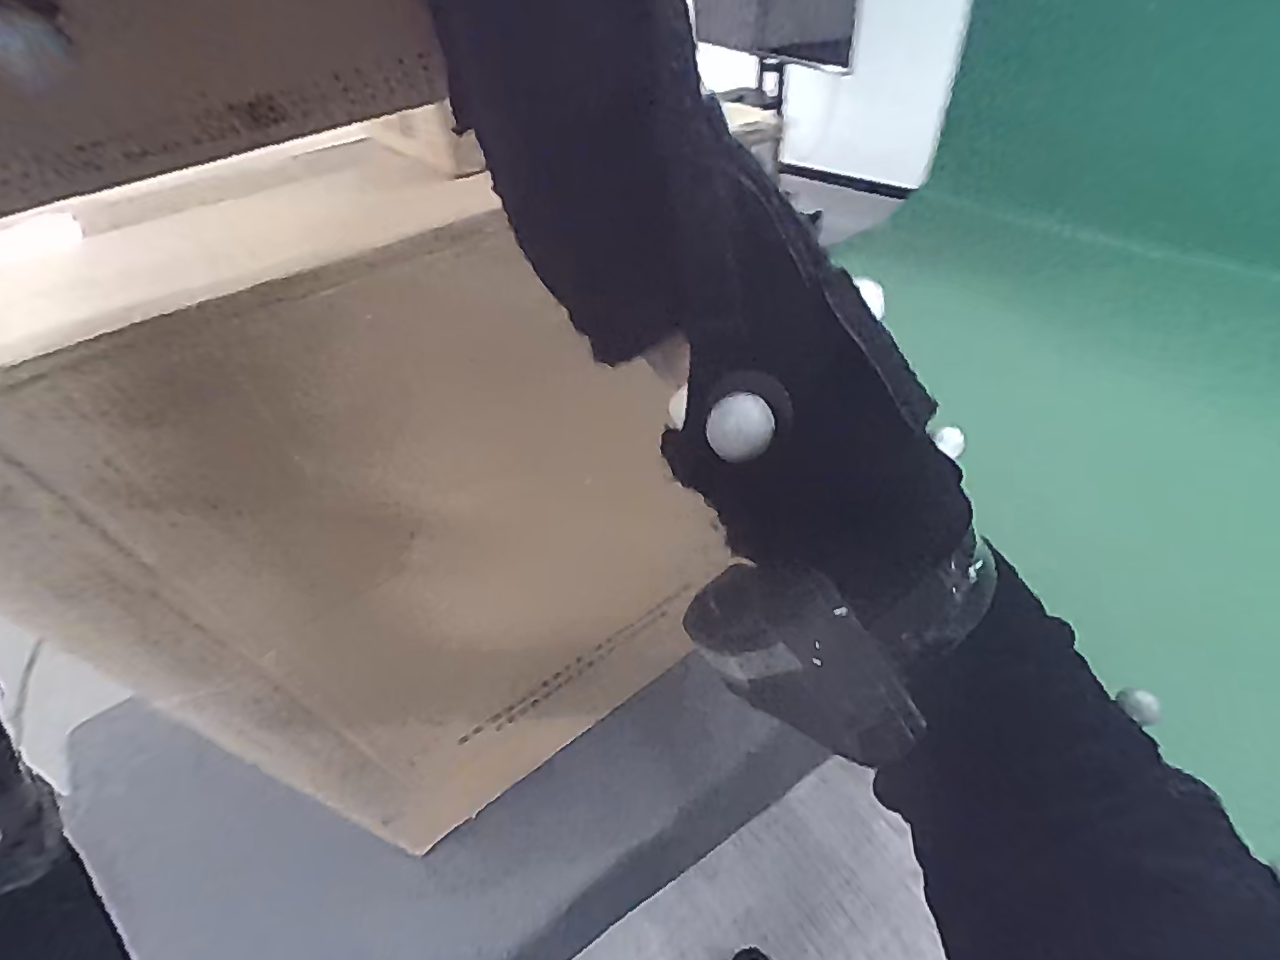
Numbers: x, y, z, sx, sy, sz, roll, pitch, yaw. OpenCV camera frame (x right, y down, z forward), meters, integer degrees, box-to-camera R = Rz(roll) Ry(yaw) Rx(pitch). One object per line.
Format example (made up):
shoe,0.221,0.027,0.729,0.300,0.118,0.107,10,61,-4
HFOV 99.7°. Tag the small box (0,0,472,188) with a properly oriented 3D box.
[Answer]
small box,-0.143,-0.174,0.091,0.168,0.179,0.176,-18,11,-5
